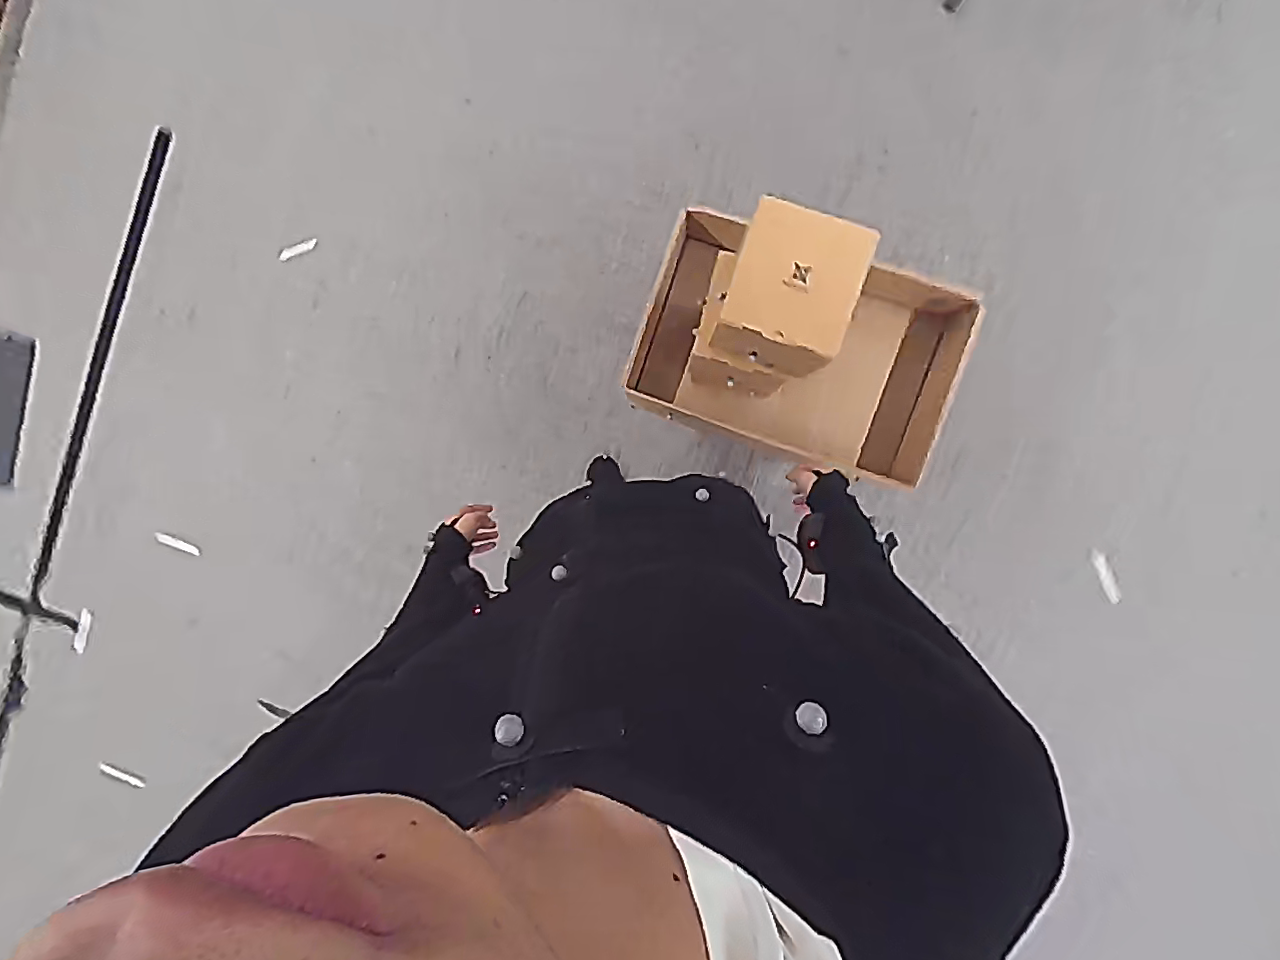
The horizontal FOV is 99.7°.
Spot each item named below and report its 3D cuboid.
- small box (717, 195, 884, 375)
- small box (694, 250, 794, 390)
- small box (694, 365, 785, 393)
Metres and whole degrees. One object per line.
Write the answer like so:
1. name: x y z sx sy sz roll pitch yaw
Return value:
1. small box: 0.219 -0.270 0.789 0.168 0.176 0.179 18 93 1
2. small box: 0.196 -0.271 0.953 0.168 0.176 0.179 16 93 2
3. small box: 0.216 -0.281 1.116 0.179 0.176 0.168 13 93 2
